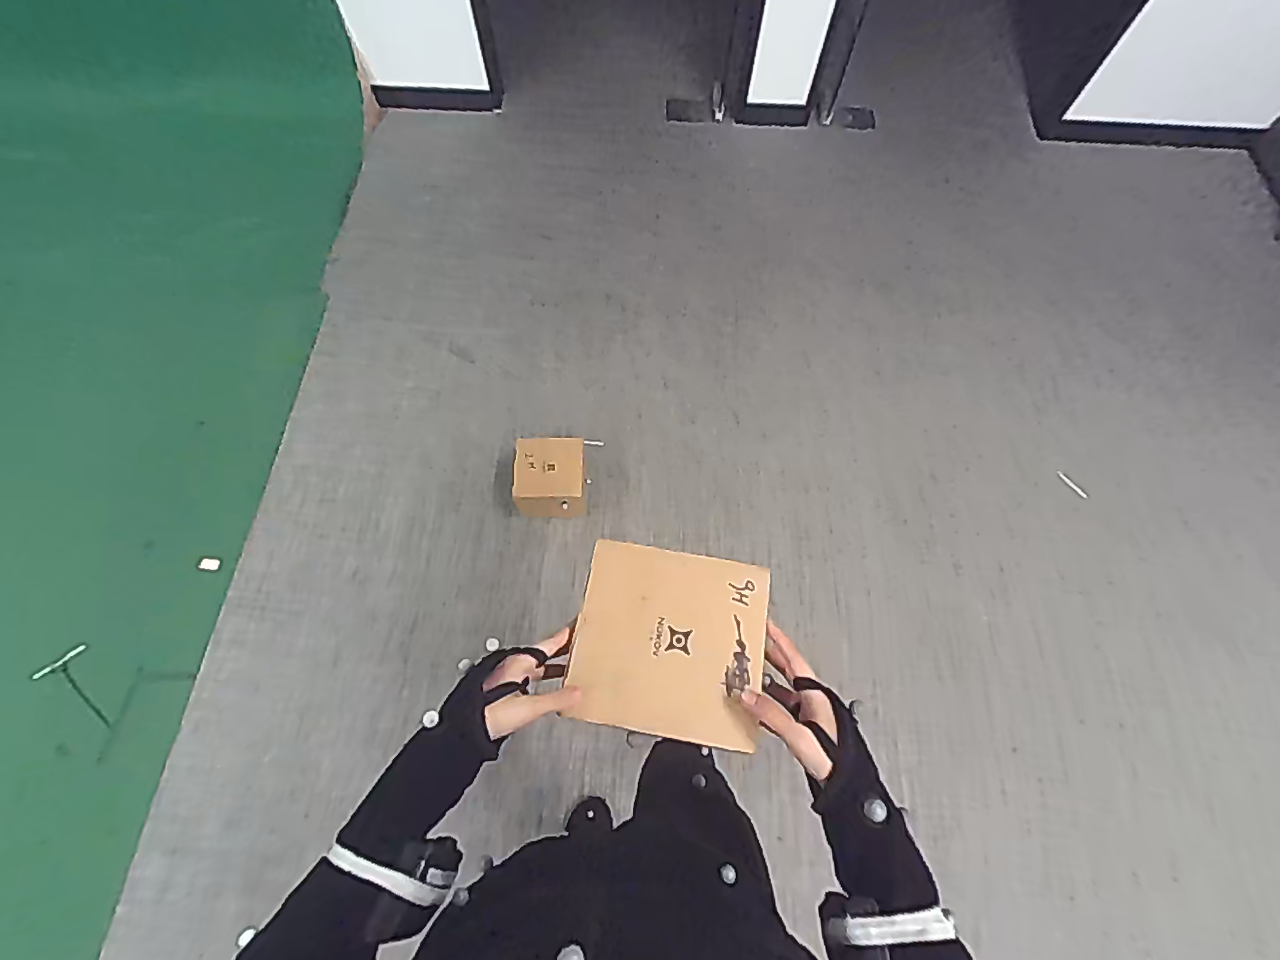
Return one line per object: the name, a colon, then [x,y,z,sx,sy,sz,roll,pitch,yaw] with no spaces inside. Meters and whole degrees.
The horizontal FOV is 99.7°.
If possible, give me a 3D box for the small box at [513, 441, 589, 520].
small box: [-0.232,0.004,1.460,0.179,0.176,0.168,0,67,0]
